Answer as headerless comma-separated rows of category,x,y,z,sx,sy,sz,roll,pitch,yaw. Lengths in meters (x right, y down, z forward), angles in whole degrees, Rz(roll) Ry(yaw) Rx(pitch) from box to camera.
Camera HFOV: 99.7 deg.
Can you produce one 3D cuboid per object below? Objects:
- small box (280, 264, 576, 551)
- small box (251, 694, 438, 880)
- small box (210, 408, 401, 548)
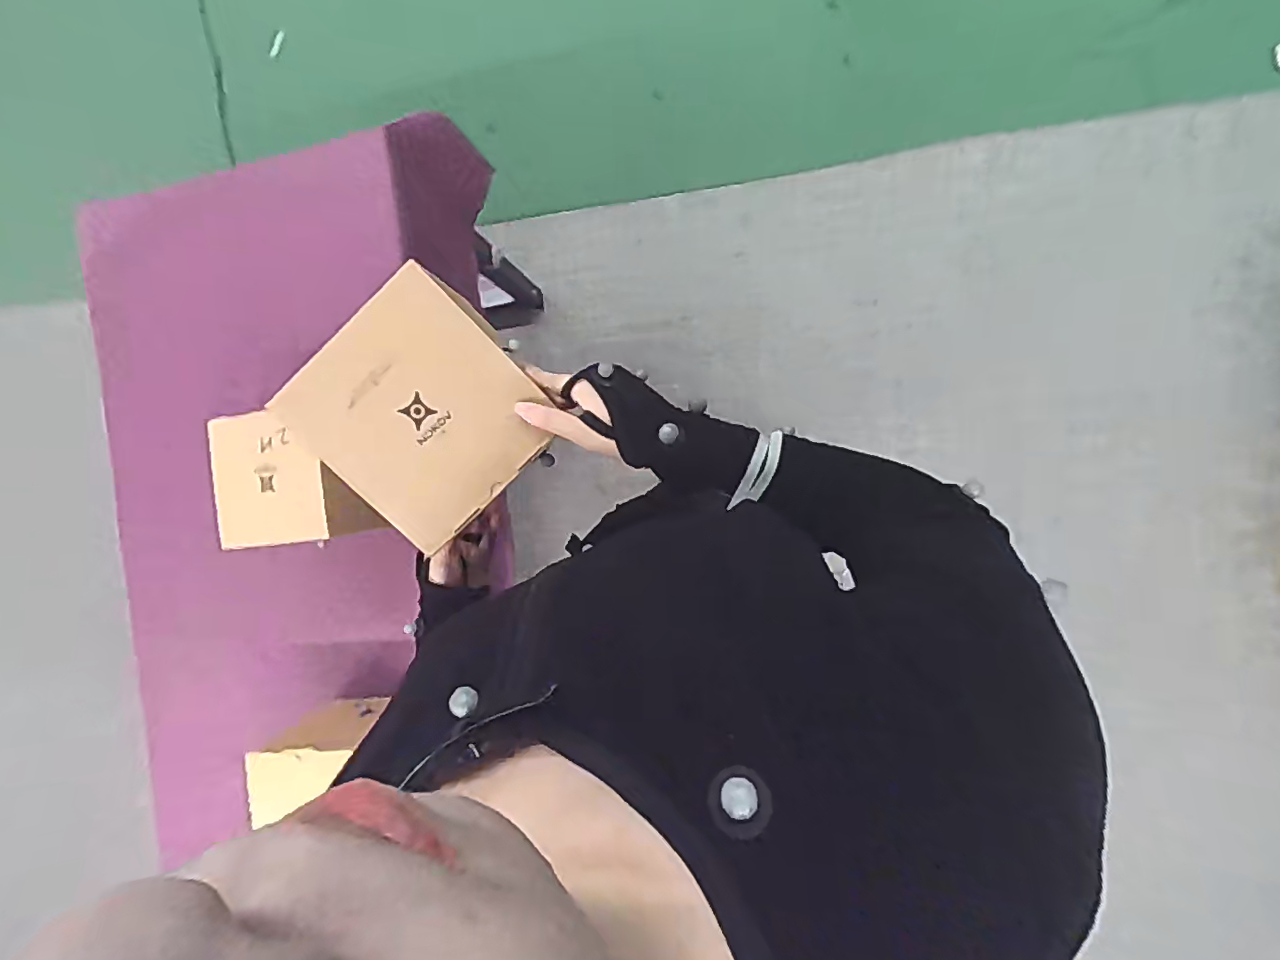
small box,-0.174,-0.067,0.514,0.168,0.176,0.179,-42,100,2
small box,-0.413,0.432,0.782,0.168,0.176,0.179,-8,89,10
small box,-0.466,-0.006,0.781,0.168,0.176,0.179,-6,90,10
